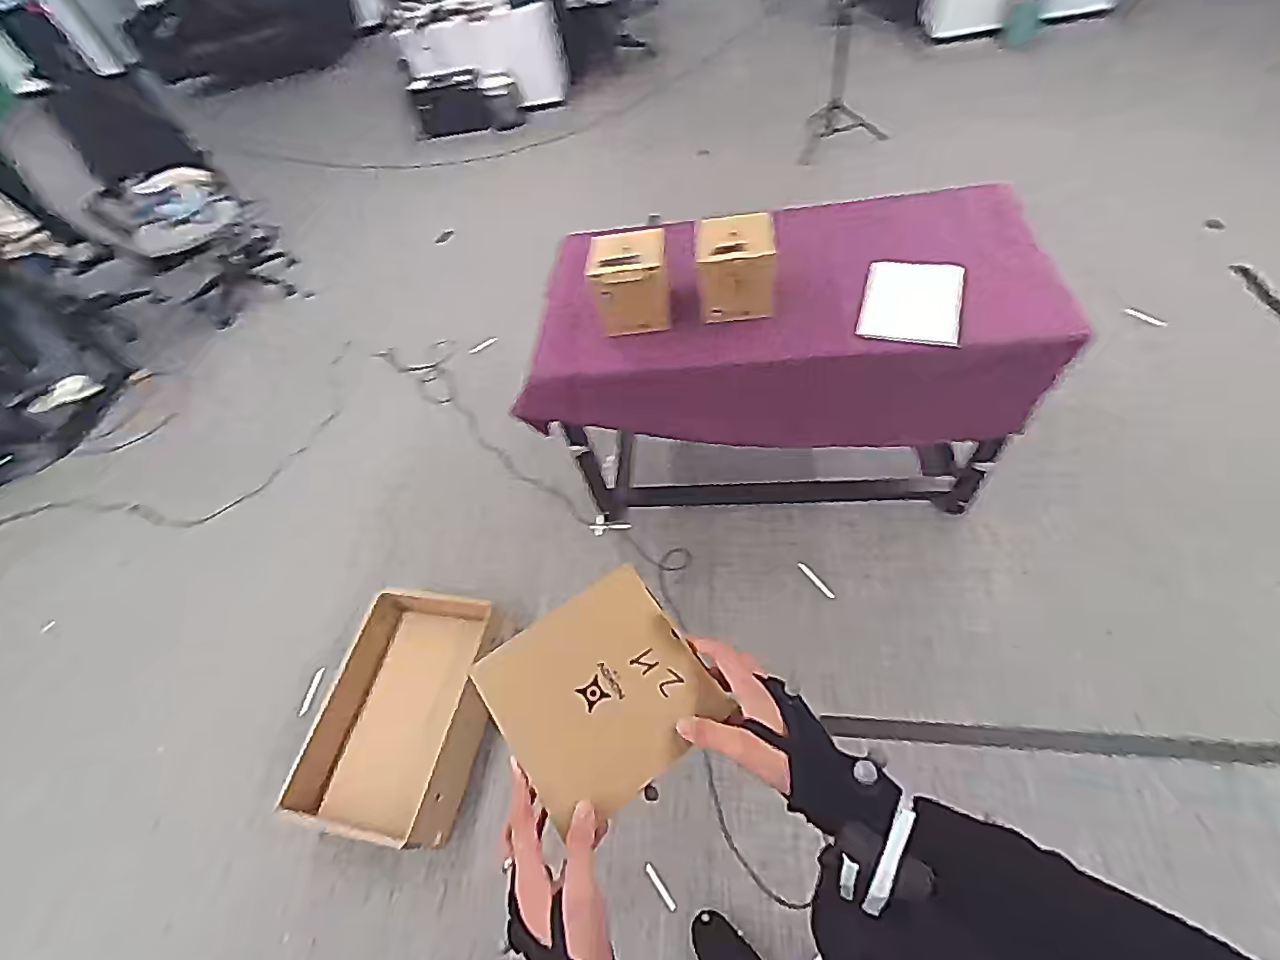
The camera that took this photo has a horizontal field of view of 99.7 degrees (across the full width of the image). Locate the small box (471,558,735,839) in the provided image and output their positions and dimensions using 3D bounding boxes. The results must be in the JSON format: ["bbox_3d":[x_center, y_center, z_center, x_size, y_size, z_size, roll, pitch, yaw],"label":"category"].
[{"bbox_3d":[-0.037,0.212,0.535,0.179,0.176,0.168,-31,69,-19],"label":"small box"}]
